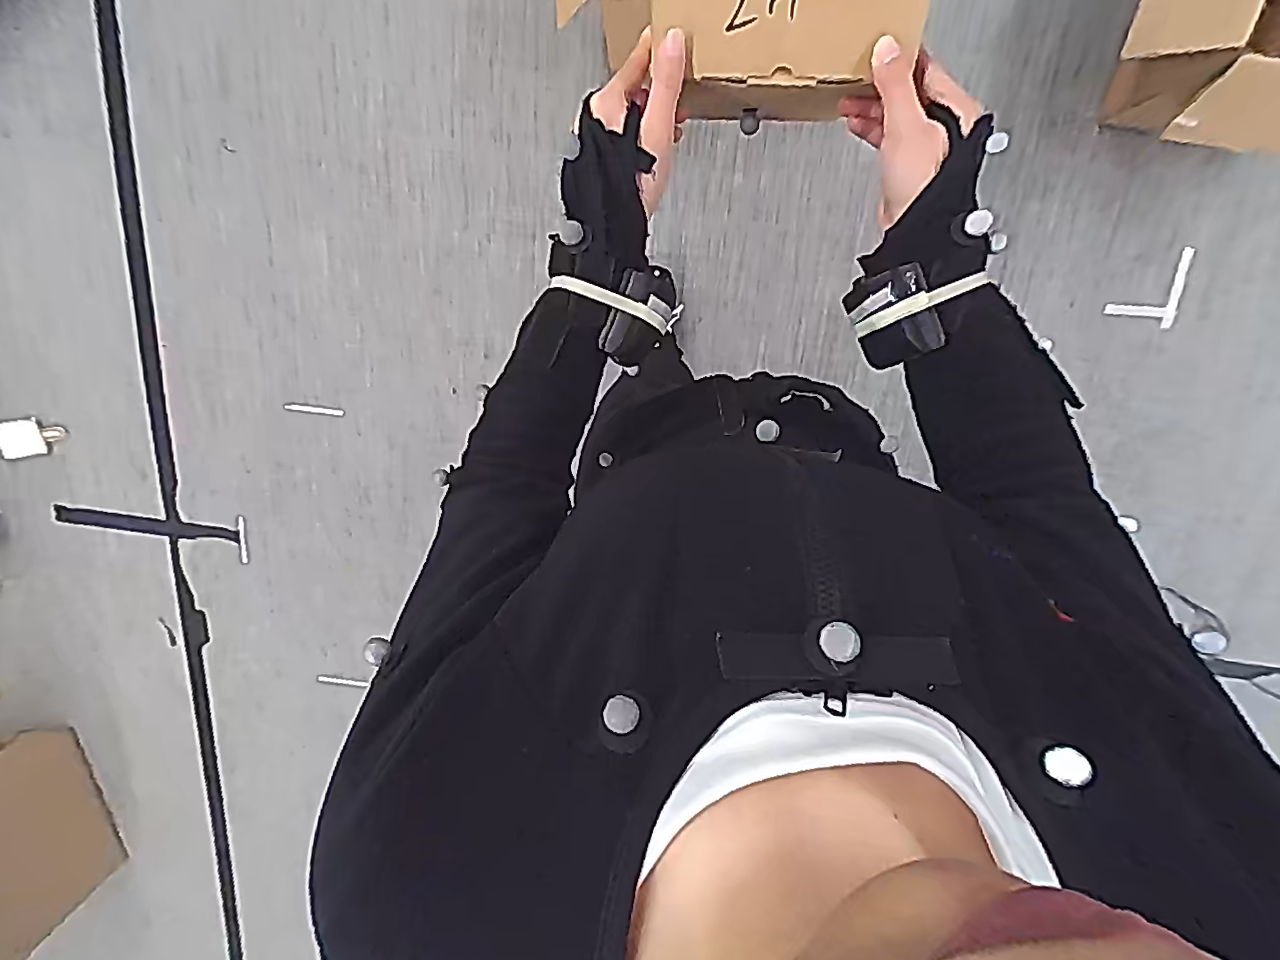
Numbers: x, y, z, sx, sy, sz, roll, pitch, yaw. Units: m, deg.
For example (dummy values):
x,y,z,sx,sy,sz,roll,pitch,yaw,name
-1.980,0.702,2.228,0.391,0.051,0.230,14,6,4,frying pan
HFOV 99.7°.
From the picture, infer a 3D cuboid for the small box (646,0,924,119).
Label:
x,y,z,sx,sy,sz,roll,pitch,yaw,name
0.090,-0.369,0.370,0.168,0.176,0.179,2,116,1,small box
